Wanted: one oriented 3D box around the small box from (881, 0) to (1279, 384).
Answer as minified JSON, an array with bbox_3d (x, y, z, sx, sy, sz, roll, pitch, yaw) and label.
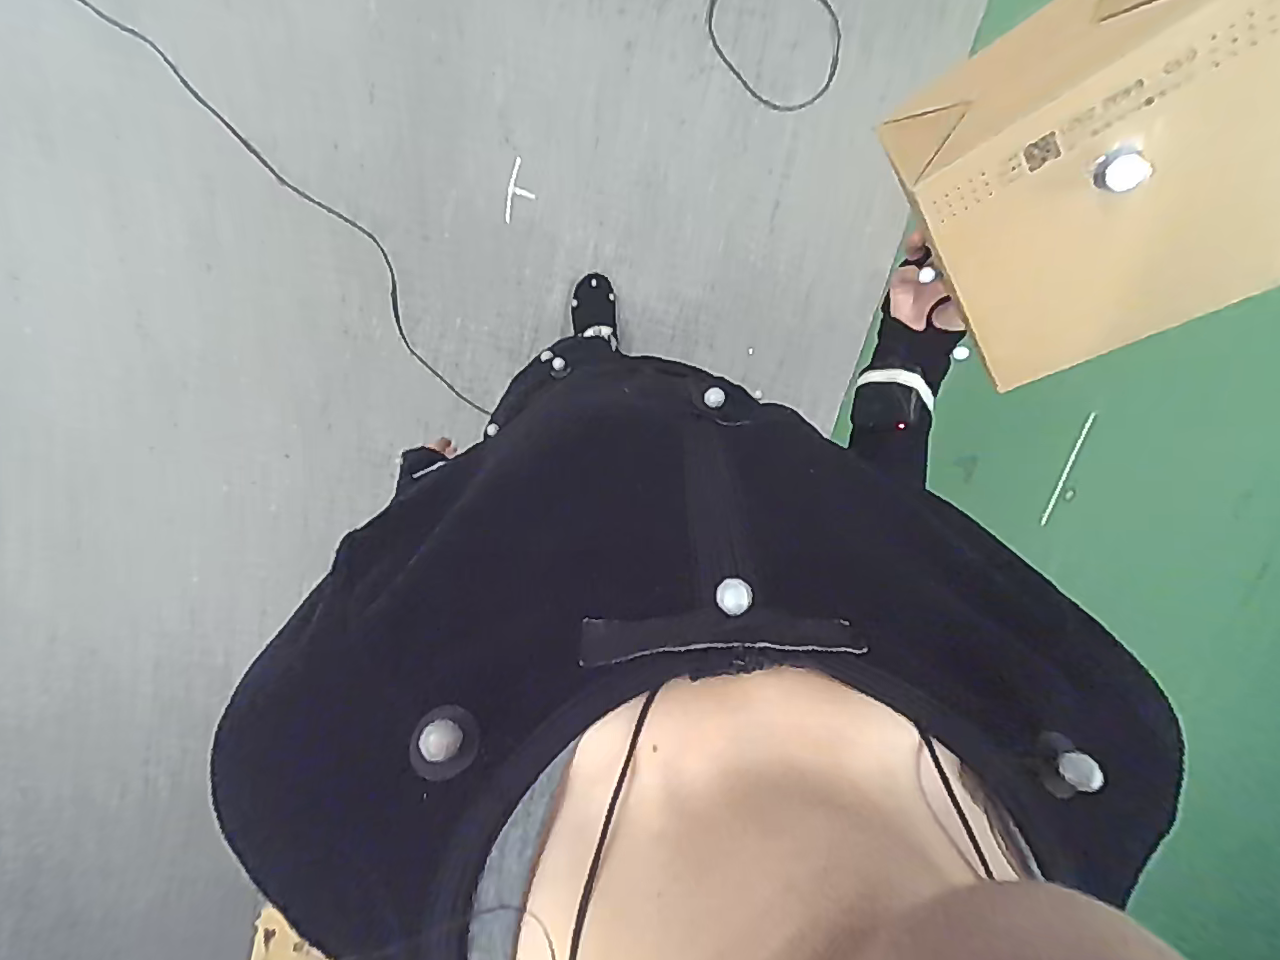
[{"bbox_3d":[0.281,-0.205,0.363,0.168,0.179,0.176,-25,121,33],"label":"small box"}]
